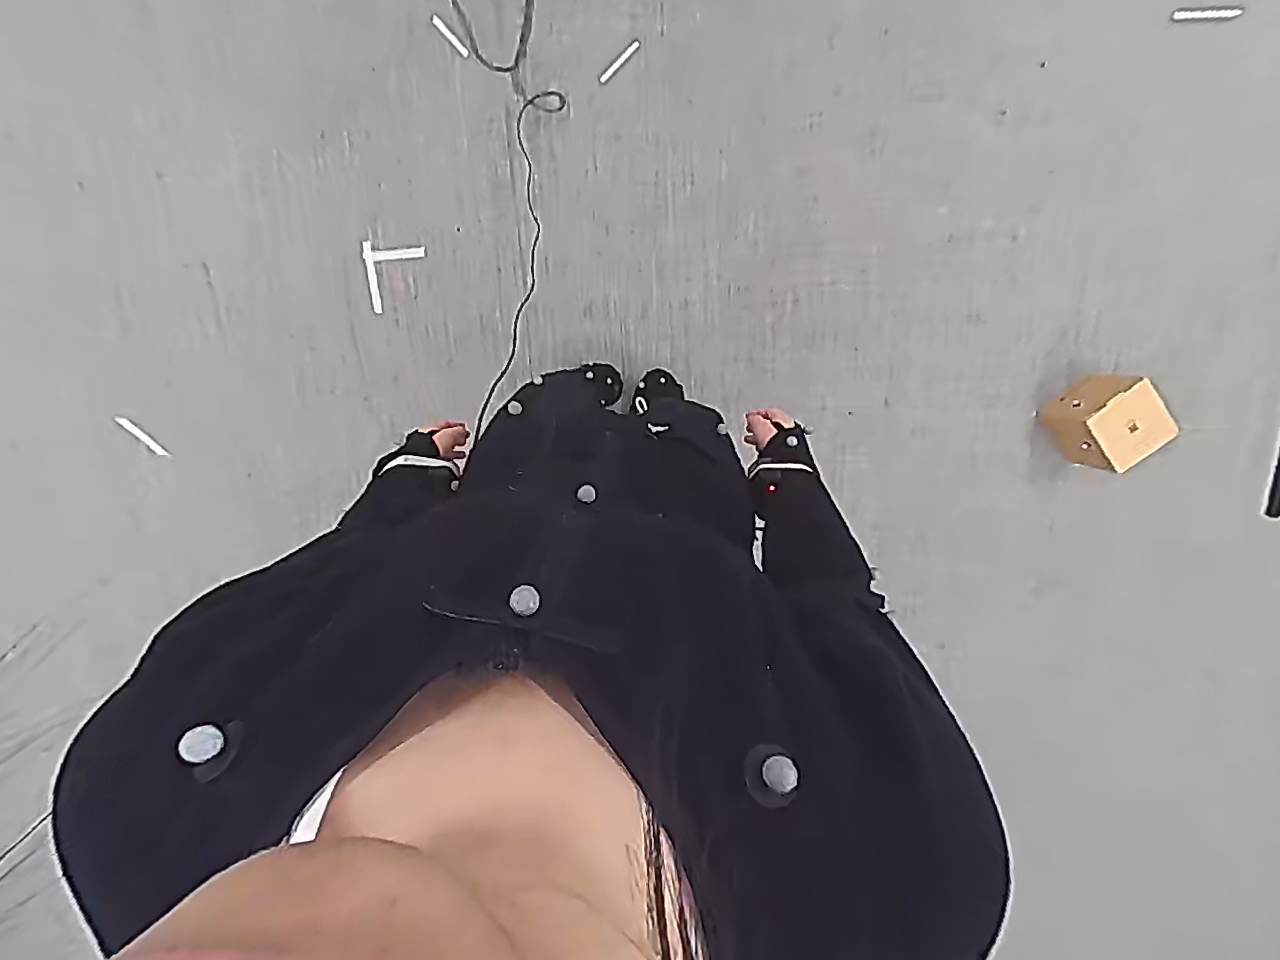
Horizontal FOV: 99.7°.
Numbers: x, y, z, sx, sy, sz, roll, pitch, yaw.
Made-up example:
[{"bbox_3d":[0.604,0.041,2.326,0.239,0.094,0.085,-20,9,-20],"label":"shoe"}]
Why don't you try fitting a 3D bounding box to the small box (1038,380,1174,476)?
[{"bbox_3d":[1.177,-0.140,1.382,0.168,0.176,0.179,-39,101,9],"label":"small box"}]
